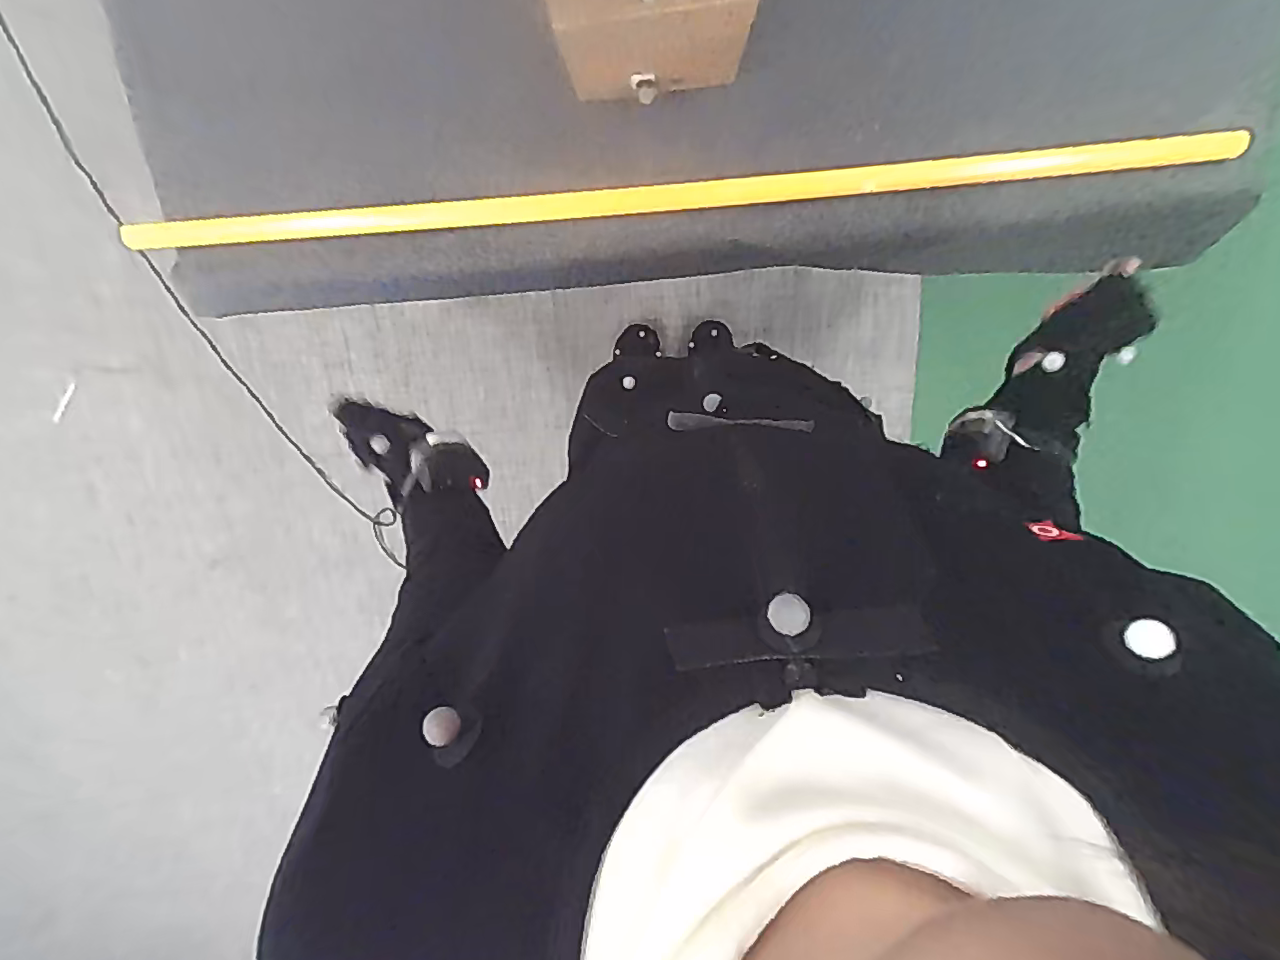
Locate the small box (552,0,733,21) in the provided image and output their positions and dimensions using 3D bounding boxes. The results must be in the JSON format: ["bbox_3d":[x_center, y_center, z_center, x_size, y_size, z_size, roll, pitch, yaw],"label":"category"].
[{"bbox_3d":[-0.002,-0.428,0.323,0.168,0.176,0.179,-4,106,4],"label":"small box"}]

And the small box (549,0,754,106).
[{"bbox_3d":[0.004,-0.472,0.481,0.168,0.176,0.179,-6,107,5],"label":"small box"}]
